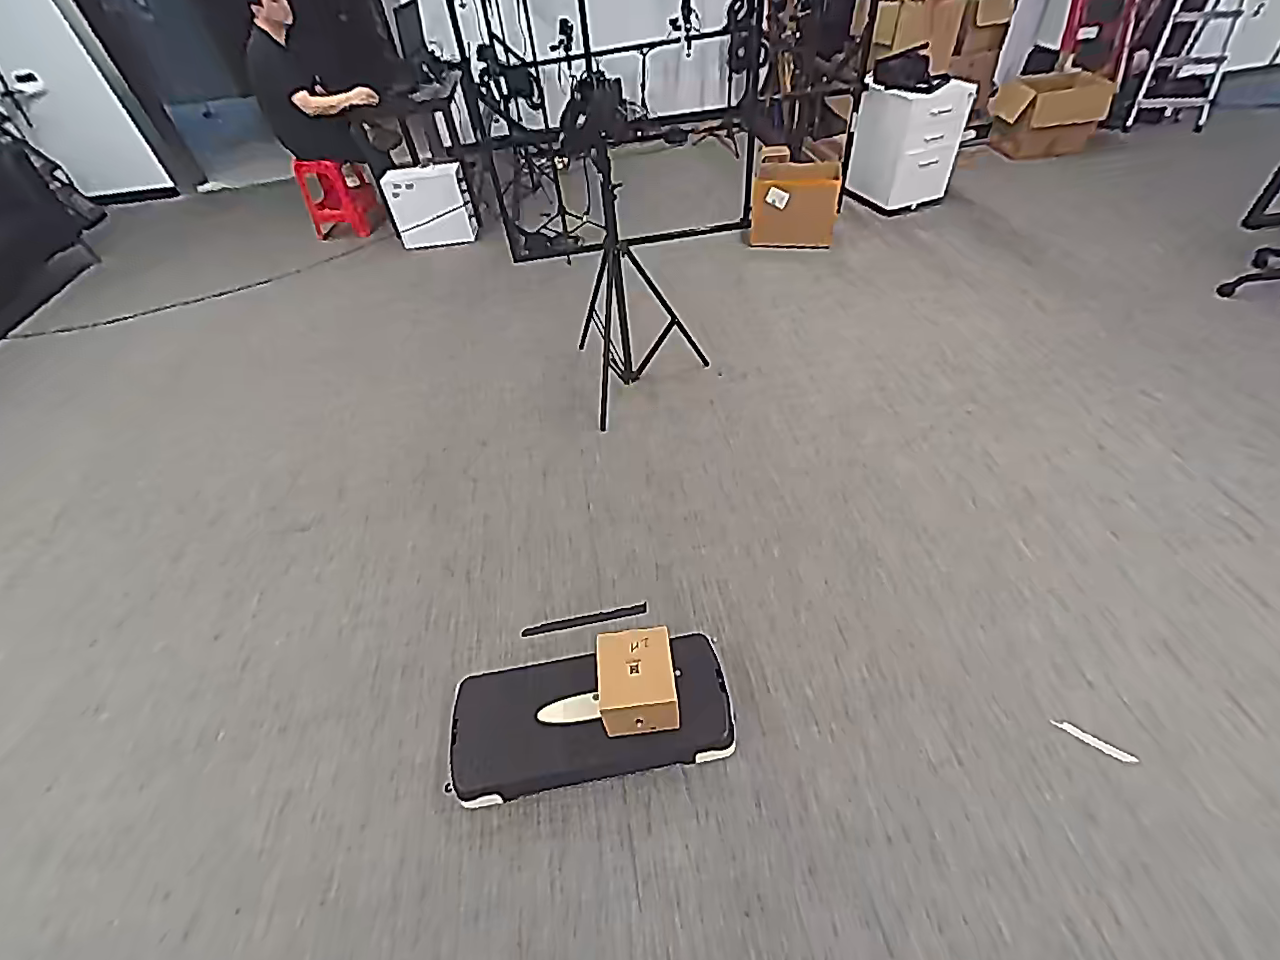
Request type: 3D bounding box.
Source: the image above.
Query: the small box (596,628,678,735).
[{"bbox_3d":[-0.006,0.465,1.233,0.168,0.176,0.179,-7,46,0],"label":"small box"}]
